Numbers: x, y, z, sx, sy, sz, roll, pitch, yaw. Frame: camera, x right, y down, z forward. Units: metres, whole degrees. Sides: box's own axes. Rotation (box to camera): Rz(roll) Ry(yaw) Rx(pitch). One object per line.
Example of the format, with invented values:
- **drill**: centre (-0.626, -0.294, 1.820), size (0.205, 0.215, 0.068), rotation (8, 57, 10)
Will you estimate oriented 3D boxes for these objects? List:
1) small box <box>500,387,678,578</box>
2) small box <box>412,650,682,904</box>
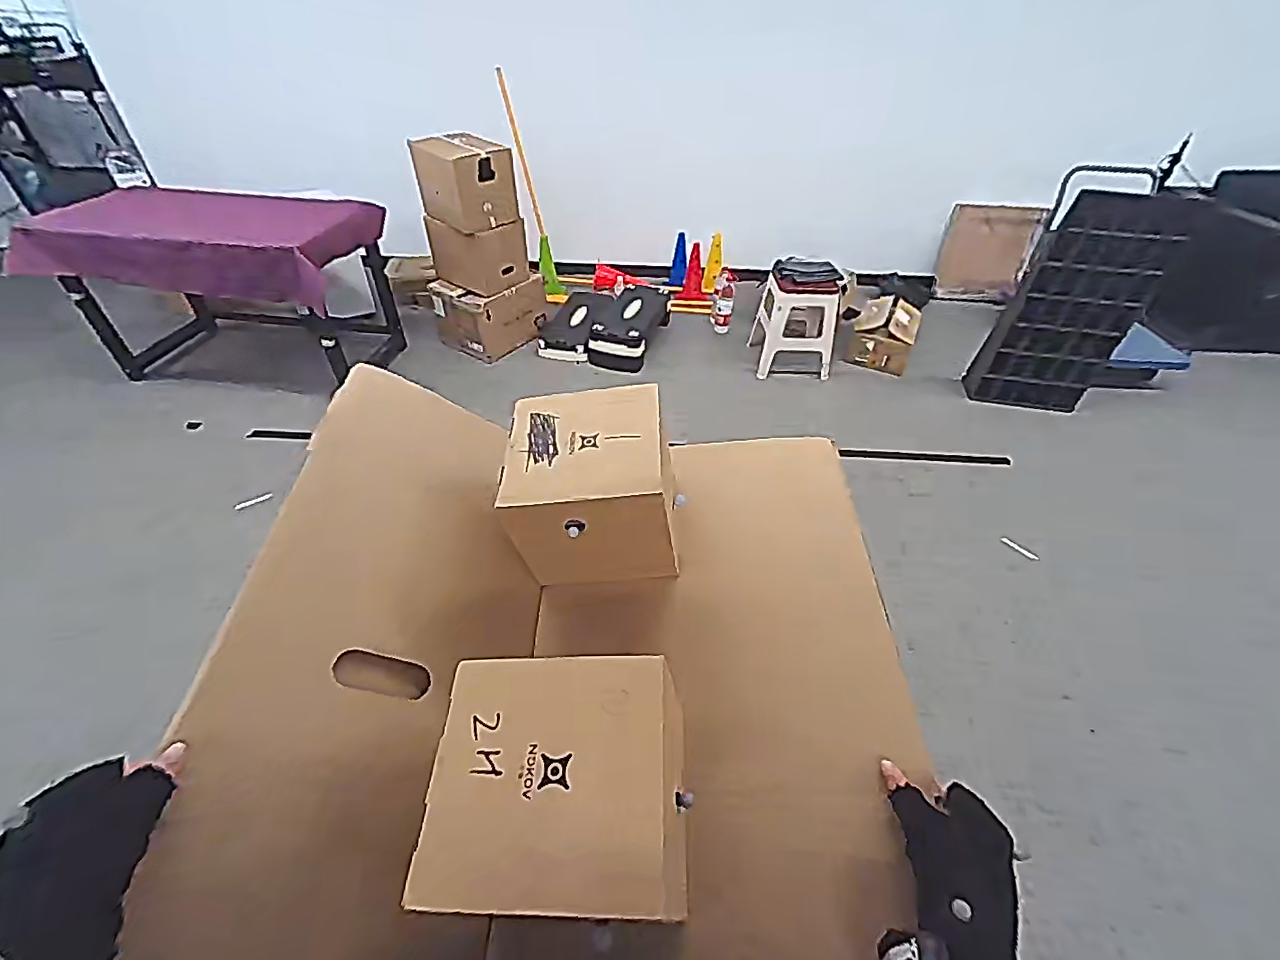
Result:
- **small box**: centre (-0.049, 0.010, 0.670), size (0.179, 0.176, 0.168), rotation (-5, 51, 7)
- **small box**: centre (-0.056, 0.258, 0.468), size (0.179, 0.176, 0.168), rotation (-4, 51, 9)
